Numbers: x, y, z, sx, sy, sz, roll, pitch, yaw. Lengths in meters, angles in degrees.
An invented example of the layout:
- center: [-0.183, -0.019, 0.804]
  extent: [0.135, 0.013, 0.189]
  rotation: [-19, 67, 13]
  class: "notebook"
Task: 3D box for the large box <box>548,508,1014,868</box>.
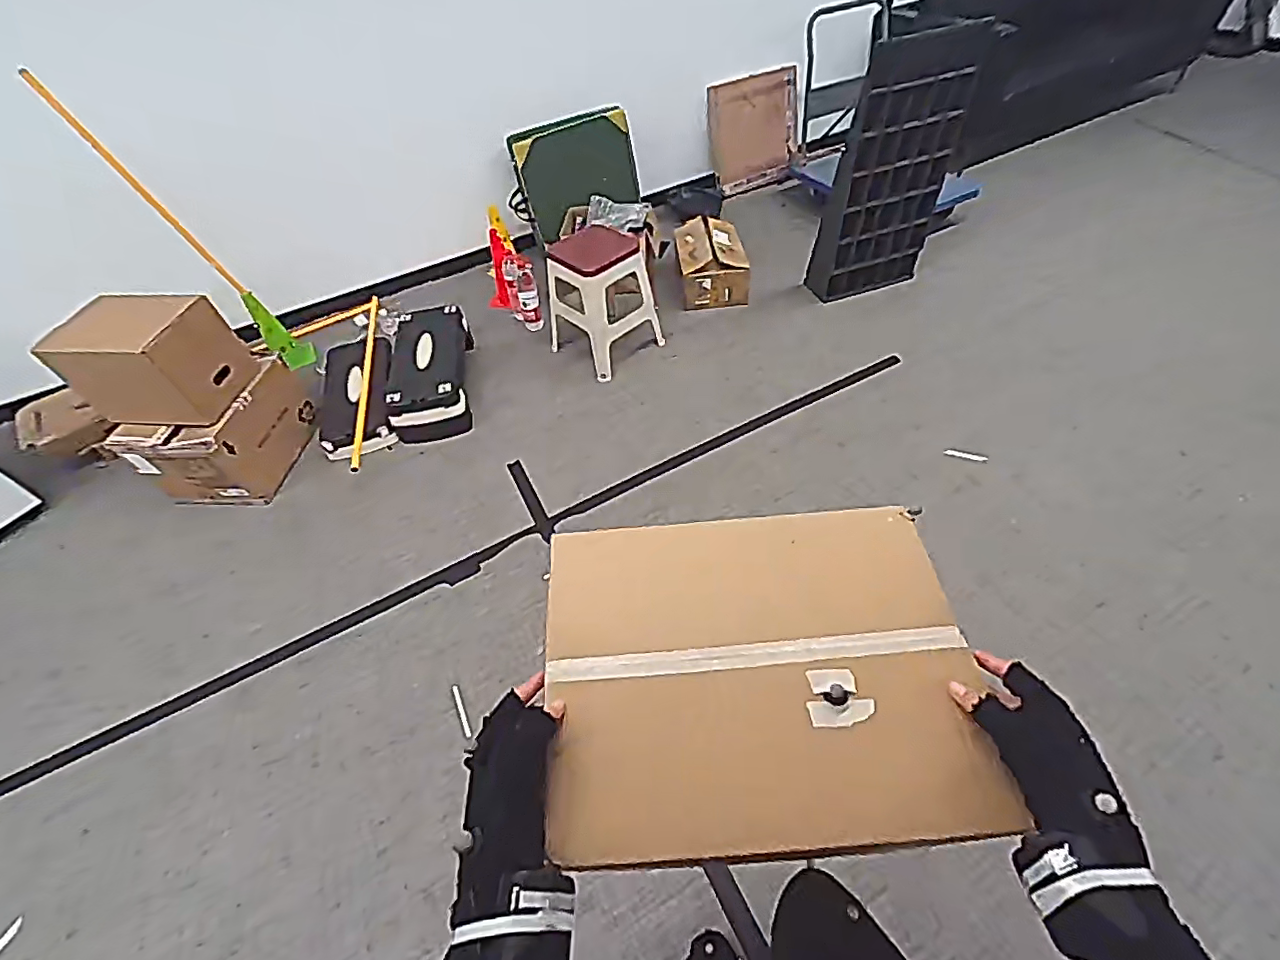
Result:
- center: [0.116, 0.262, 0.660]
  extent: [0.408, 0.320, 0.320]
  rotation: [-5, 53, 1]
  class: "large box"
